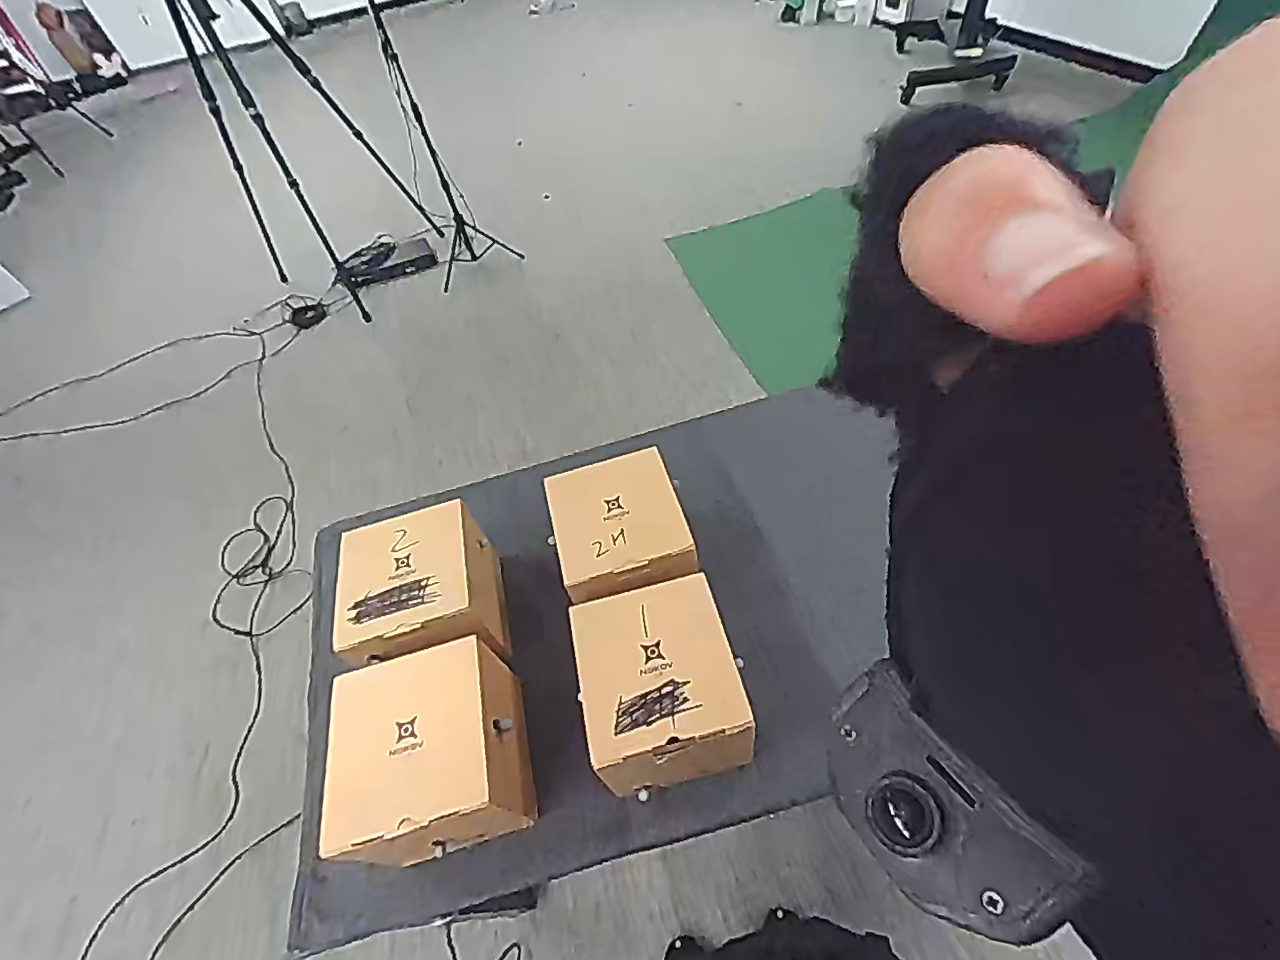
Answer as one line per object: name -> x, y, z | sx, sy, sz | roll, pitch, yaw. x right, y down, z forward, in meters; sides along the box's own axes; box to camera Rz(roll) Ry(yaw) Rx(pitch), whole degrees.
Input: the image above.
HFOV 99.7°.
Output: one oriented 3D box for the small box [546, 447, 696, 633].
small box -> -0.024, 0.087, 0.763 | 0.168, 0.176, 0.179 | -16, 52, -3
